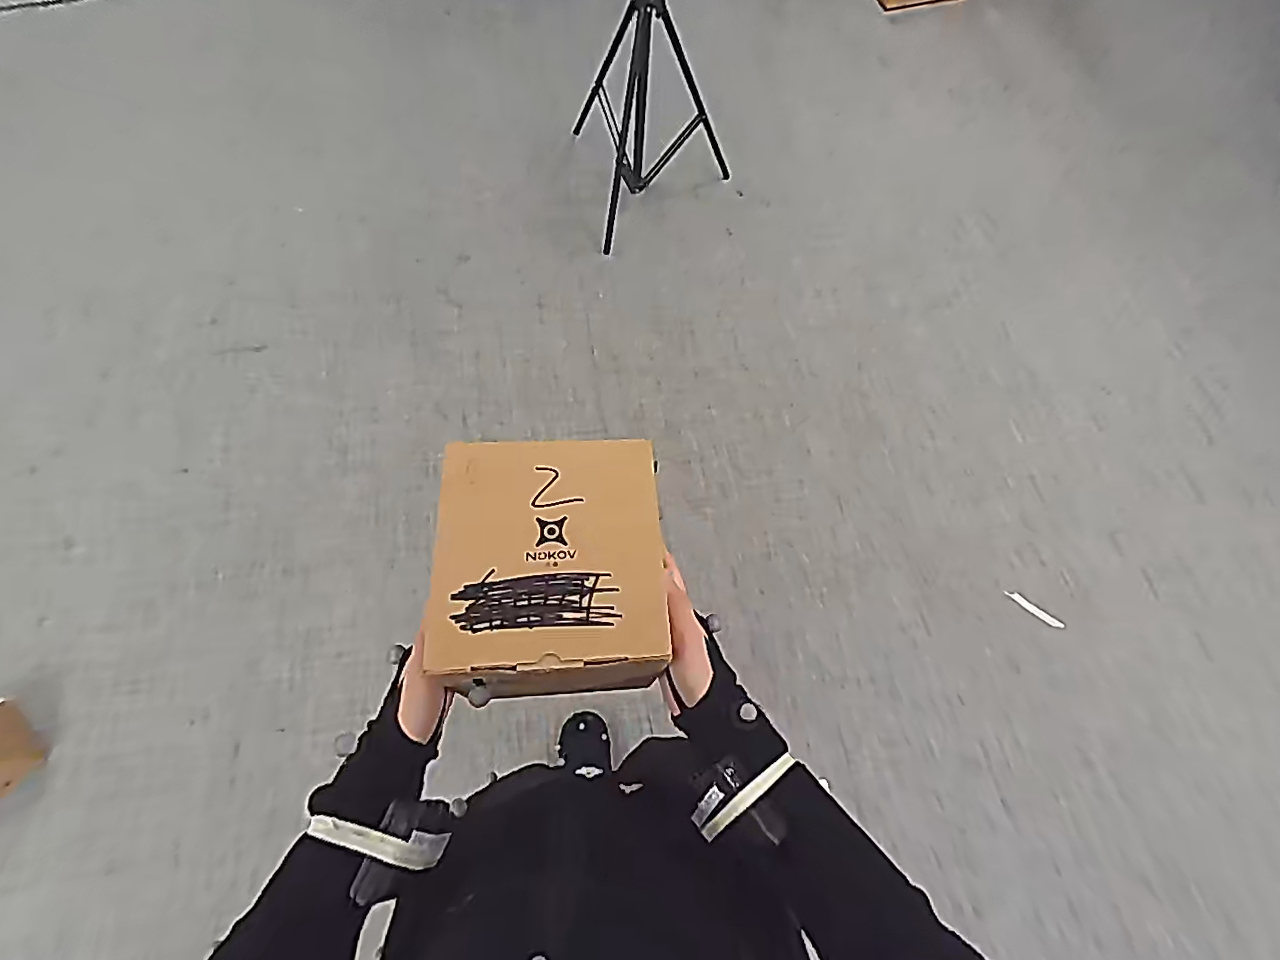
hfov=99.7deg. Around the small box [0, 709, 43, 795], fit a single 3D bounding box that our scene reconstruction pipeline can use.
[{"bbox_3d":[-1.436,0.596,1.131,0.179,0.176,0.168,42,70,14],"label":"small box"}]
